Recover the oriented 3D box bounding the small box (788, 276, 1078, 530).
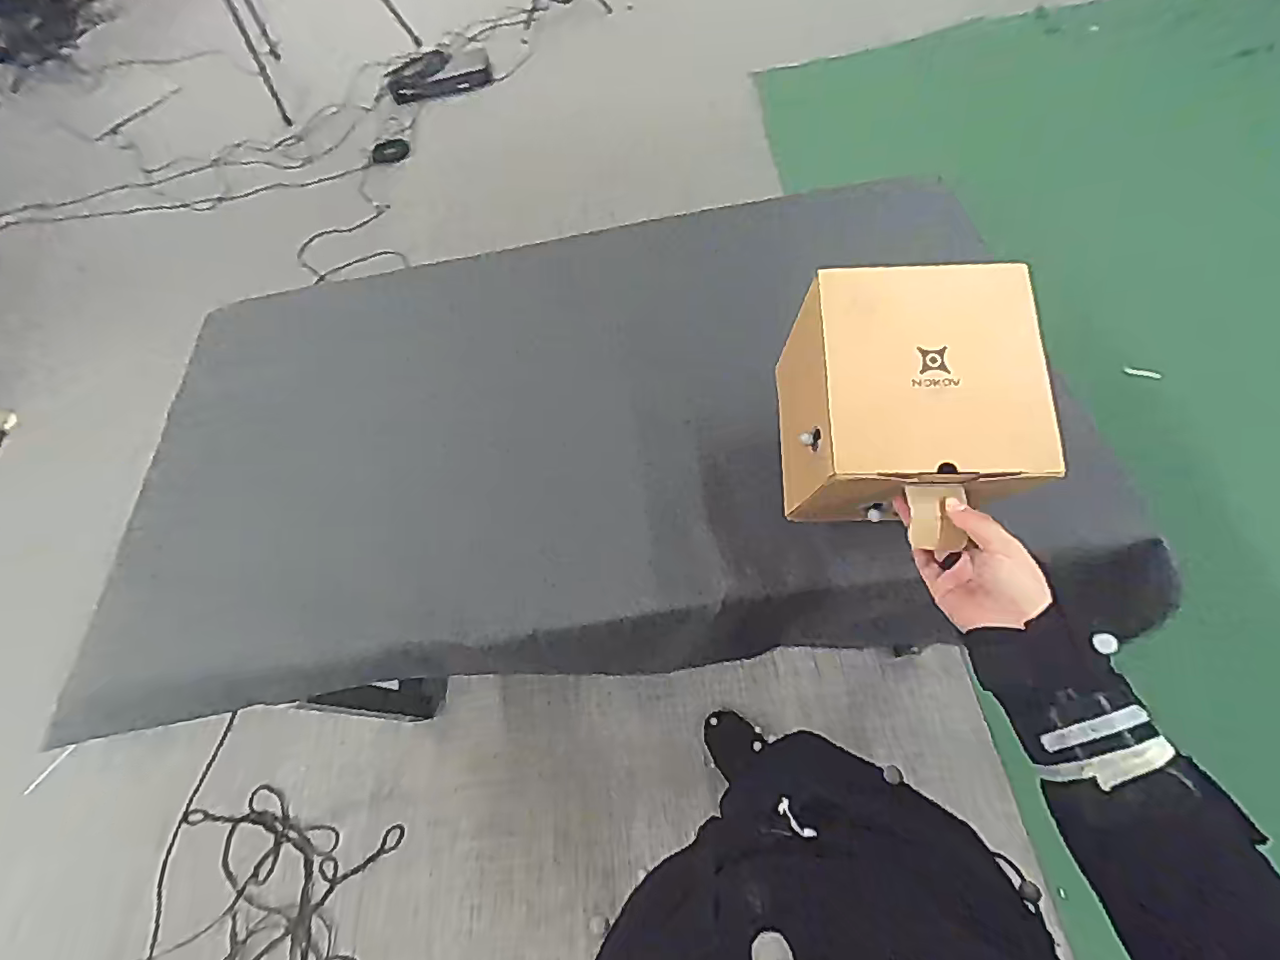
[{"bbox_3d":[0.233,-0.057,0.484,0.168,0.176,0.179,0,76,3],"label":"small box"}]
